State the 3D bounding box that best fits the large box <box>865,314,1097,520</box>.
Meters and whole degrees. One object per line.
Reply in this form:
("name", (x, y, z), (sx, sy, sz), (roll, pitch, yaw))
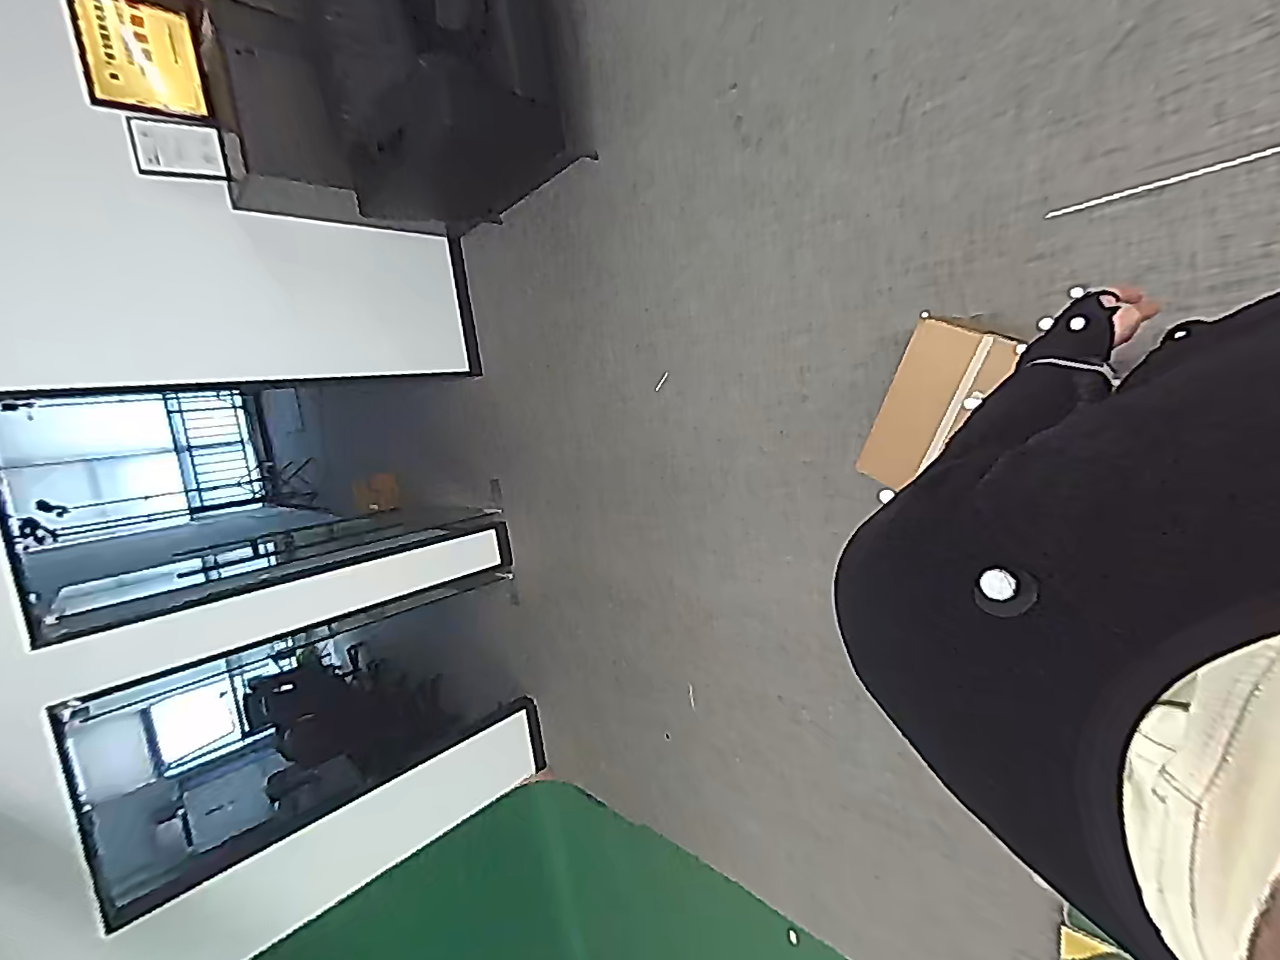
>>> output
("large box", (0.836, -0.168, 1.350), (0.320, 0.320, 0.408), (34, 122, 36))
